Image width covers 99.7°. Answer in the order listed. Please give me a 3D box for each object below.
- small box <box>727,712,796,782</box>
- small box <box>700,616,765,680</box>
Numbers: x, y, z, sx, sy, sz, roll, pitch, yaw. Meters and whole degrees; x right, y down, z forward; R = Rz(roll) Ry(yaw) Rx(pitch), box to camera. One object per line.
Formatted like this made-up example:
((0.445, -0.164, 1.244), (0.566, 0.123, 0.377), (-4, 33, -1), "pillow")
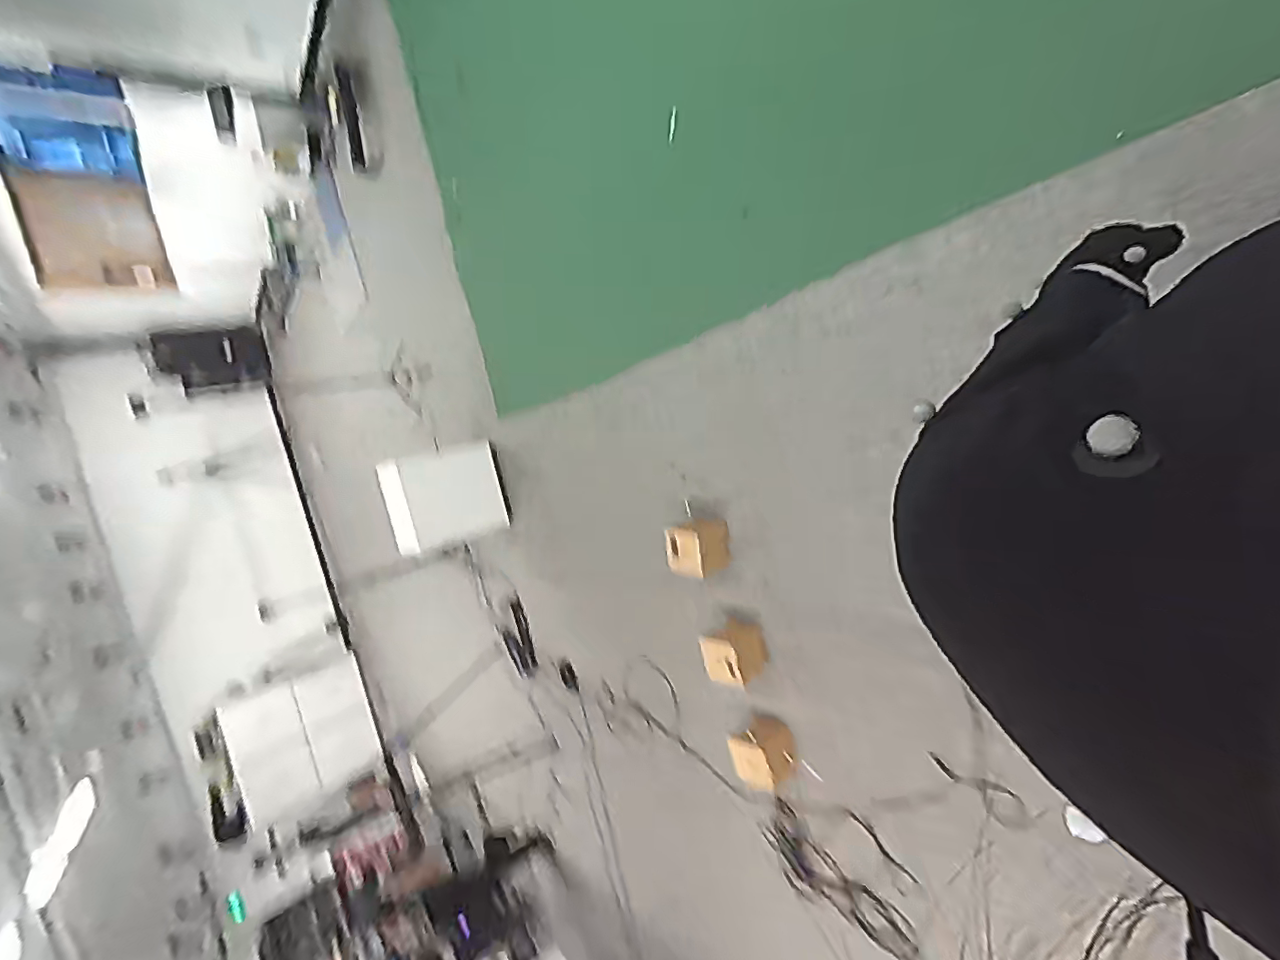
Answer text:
((0.472, 1.024, 2.093), (0.179, 0.176, 0.168), (-12, 95, 50), "small box")
((0.362, 0.636, 2.074), (0.179, 0.176, 0.168), (-4, 101, 50), "small box")
